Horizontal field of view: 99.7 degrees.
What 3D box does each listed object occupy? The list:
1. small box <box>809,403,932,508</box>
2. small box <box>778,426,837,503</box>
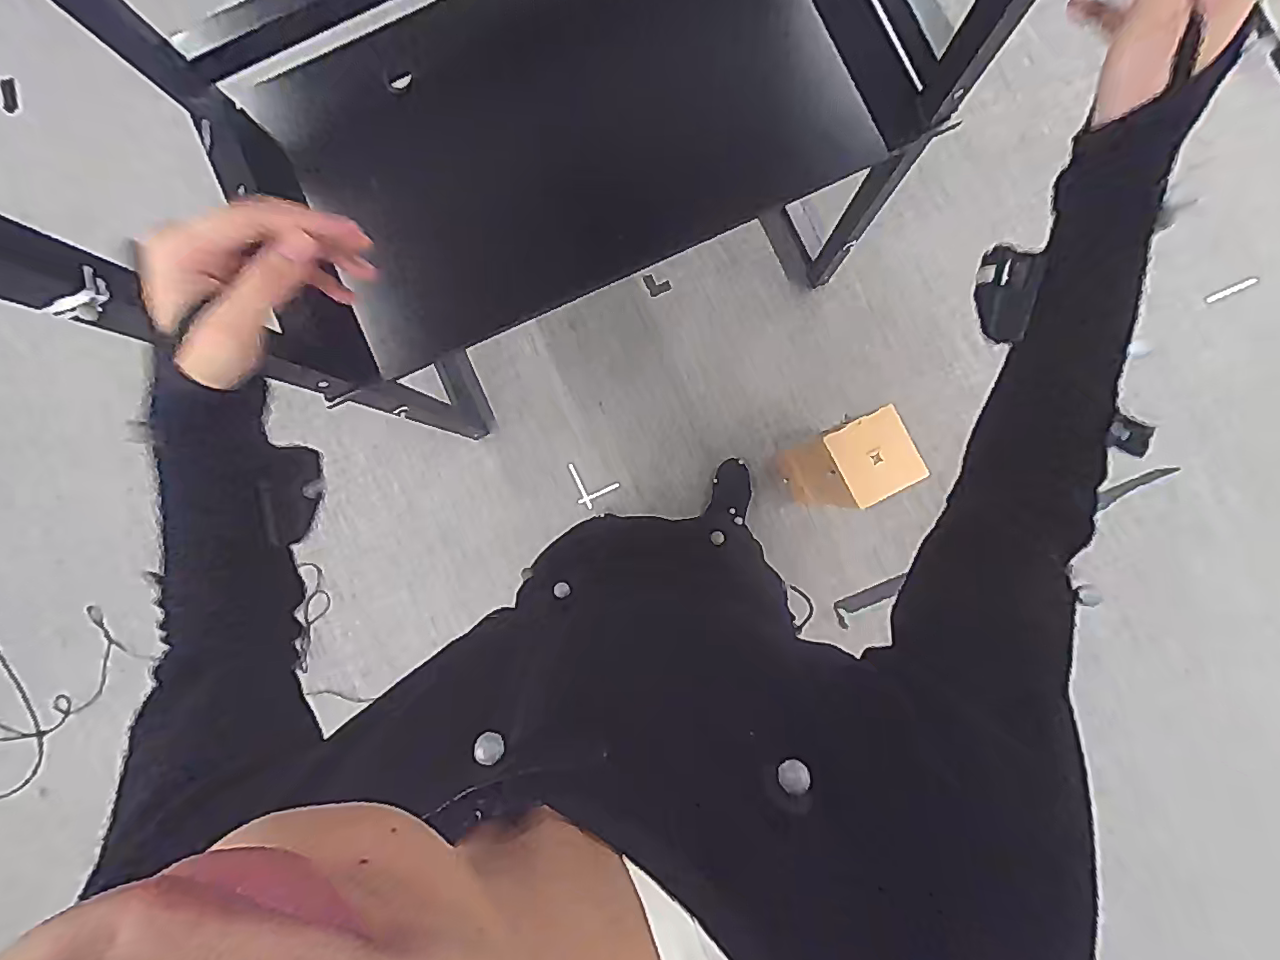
[{"bbox_3d":[0.506,-0.051,1.213,0.168,0.176,0.179,-27,87,2],"label":"small box"},{"bbox_3d":[0.518,-0.046,1.540,0.179,0.176,0.168,-26,87,3],"label":"small box"}]
